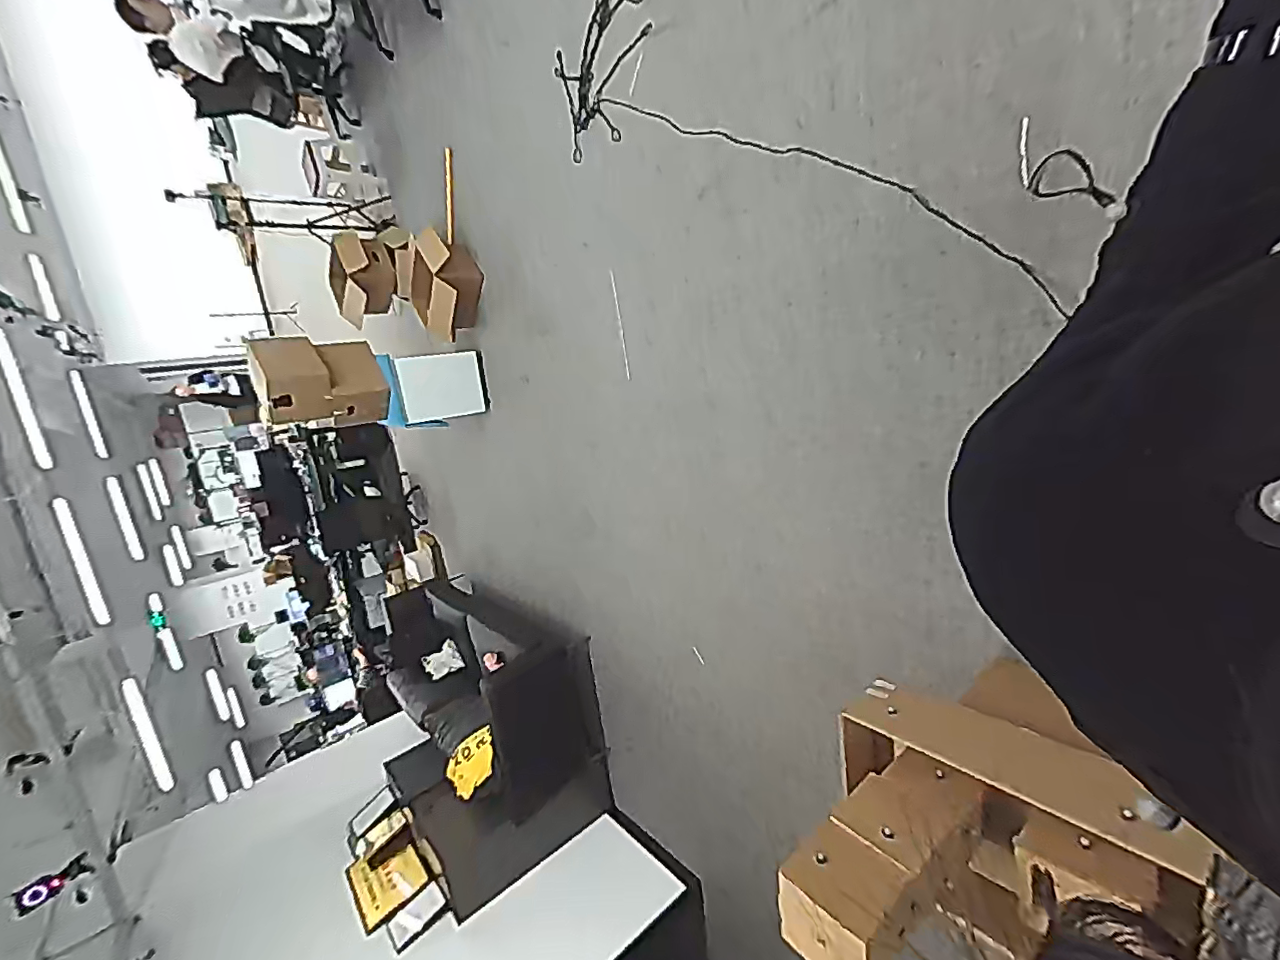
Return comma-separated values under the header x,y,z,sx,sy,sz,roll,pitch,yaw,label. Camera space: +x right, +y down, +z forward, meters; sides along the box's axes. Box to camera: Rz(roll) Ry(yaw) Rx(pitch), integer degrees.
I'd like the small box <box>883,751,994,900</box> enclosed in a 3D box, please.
x,y,z,sx,sy,sz,roll,pitch,yaw,label
0.640,0.734,1.171,0.168,0.176,0.179,16,114,50,small box

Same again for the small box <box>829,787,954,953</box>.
x,y,z,sx,sy,sz,roll,pitch,yaw,label
0.503,0.764,1.085,0.179,0.176,0.168,14,113,51,small box

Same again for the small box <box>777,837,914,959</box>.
x,y,z,sx,sy,sz,roll,pitch,yaw,label
0.373,0.806,0.996,0.179,0.176,0.168,13,113,50,small box
